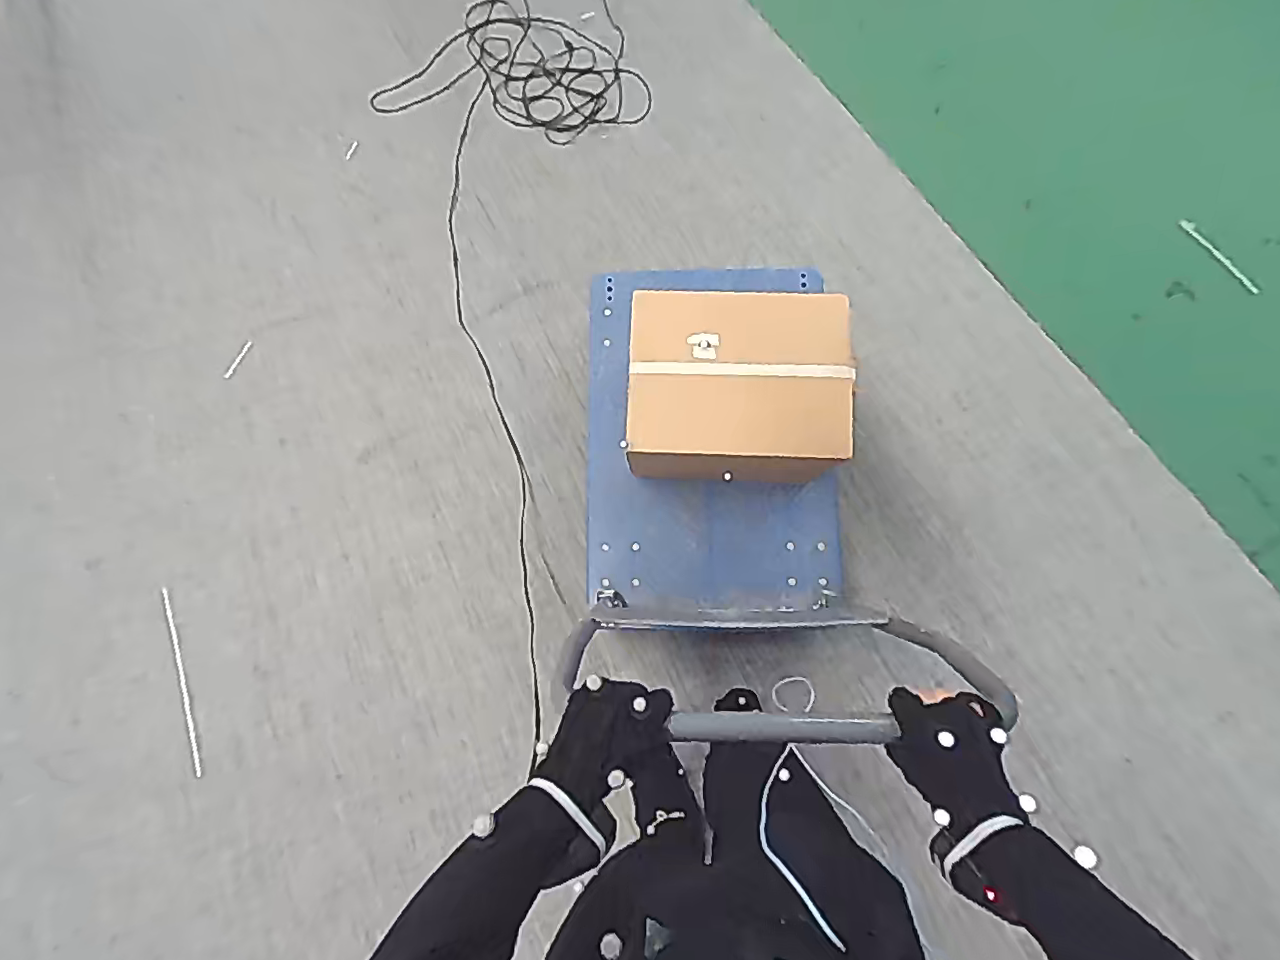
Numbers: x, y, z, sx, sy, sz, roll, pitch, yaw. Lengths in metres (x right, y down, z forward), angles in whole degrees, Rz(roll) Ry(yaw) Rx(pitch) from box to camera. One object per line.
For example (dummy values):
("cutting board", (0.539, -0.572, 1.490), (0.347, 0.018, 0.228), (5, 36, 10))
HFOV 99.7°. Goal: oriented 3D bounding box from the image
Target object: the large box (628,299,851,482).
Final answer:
("large box", (0.192, -0.167, 1.135), (0.408, 0.320, 0.320), (2, 81, 4))
